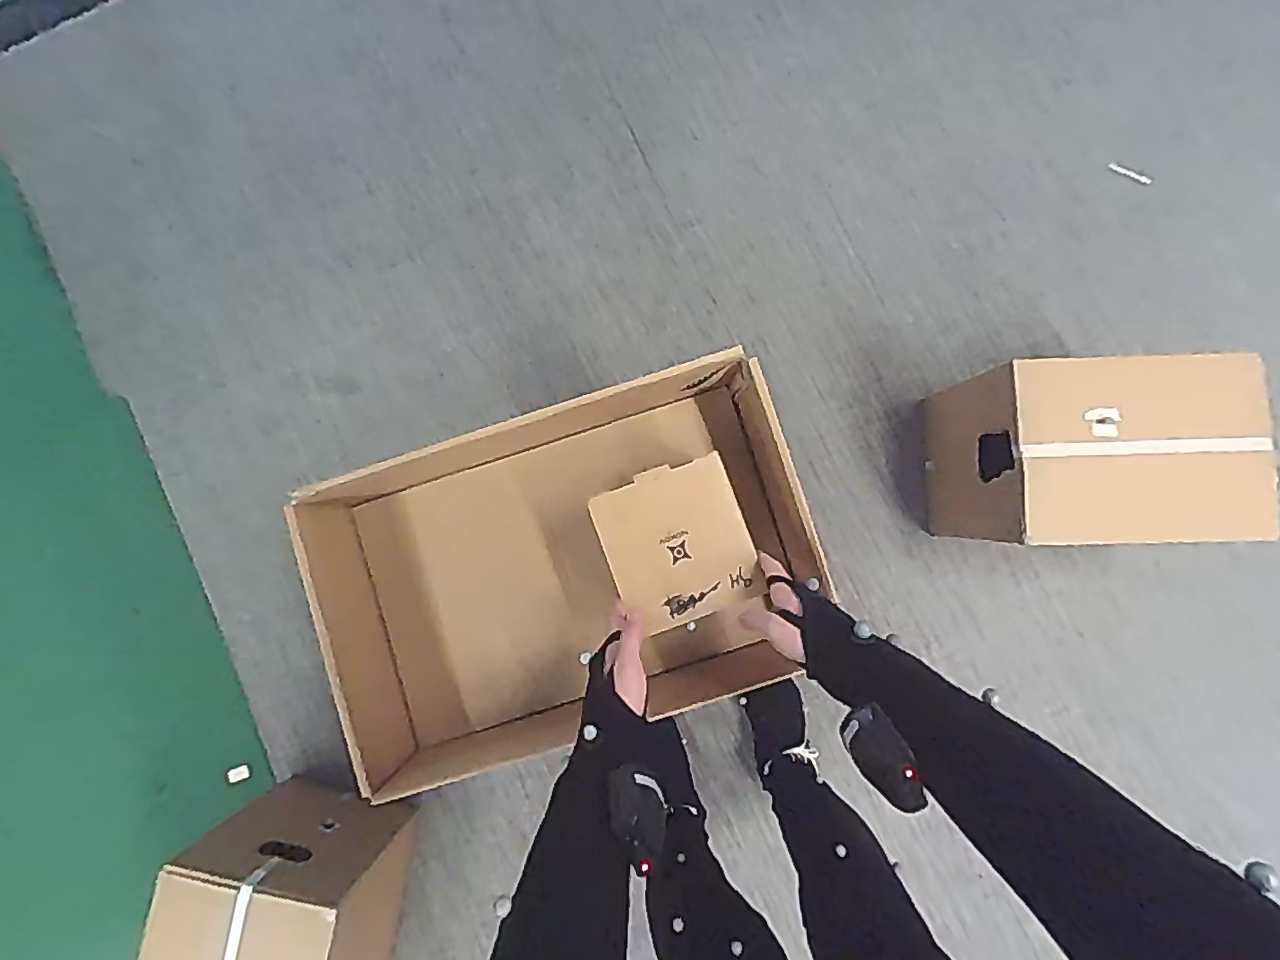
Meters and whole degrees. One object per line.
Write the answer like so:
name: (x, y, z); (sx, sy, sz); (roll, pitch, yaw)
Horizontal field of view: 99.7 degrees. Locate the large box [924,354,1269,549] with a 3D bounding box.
large box: (0.824, -0.040, 1.036); (0.408, 0.320, 0.320); (-1, 86, 3)
